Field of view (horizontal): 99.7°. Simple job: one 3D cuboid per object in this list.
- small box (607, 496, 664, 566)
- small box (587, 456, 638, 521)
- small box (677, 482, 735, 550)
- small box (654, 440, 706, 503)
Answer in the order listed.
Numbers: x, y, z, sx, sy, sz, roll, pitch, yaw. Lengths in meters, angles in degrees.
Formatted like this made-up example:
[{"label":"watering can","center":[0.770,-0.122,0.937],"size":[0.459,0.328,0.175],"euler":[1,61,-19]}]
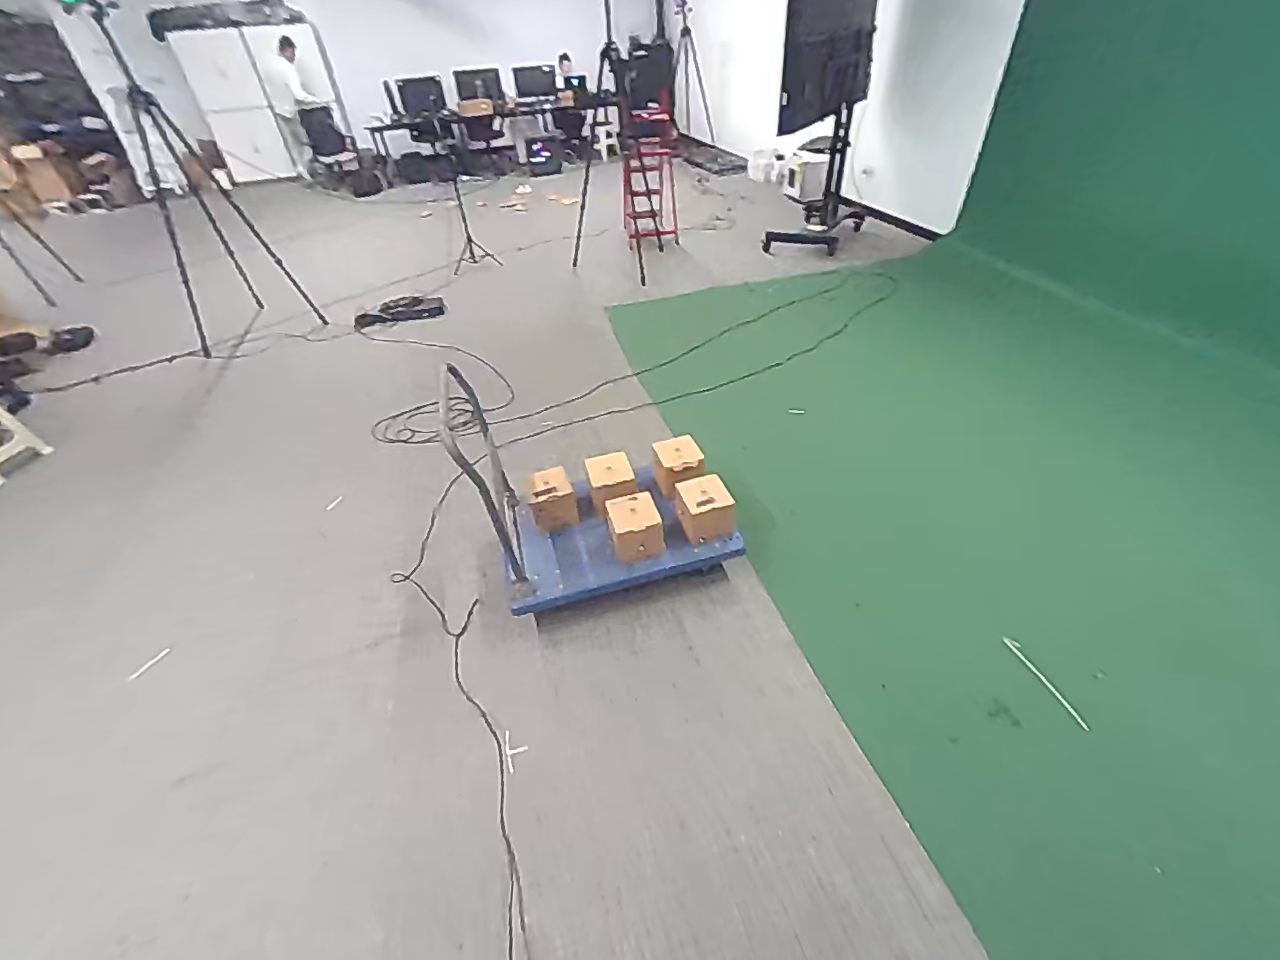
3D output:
[{"label":"small box","center":[-0.015,0.190,1.940],"size":[0.168,0.176,0.179],"euler":[-12,41,-9]},{"label":"small box","center":[-0.109,0.036,2.134],"size":[0.168,0.176,0.179],"euler":[-13,42,-10]},{"label":"small box","center":[0.242,0.139,1.999],"size":[0.168,0.176,0.179],"euler":[-13,40,-11]},{"label":"small box","center":[0.158,-0.033,2.183],"size":[0.168,0.176,0.179],"euler":[-14,41,-9]}]
